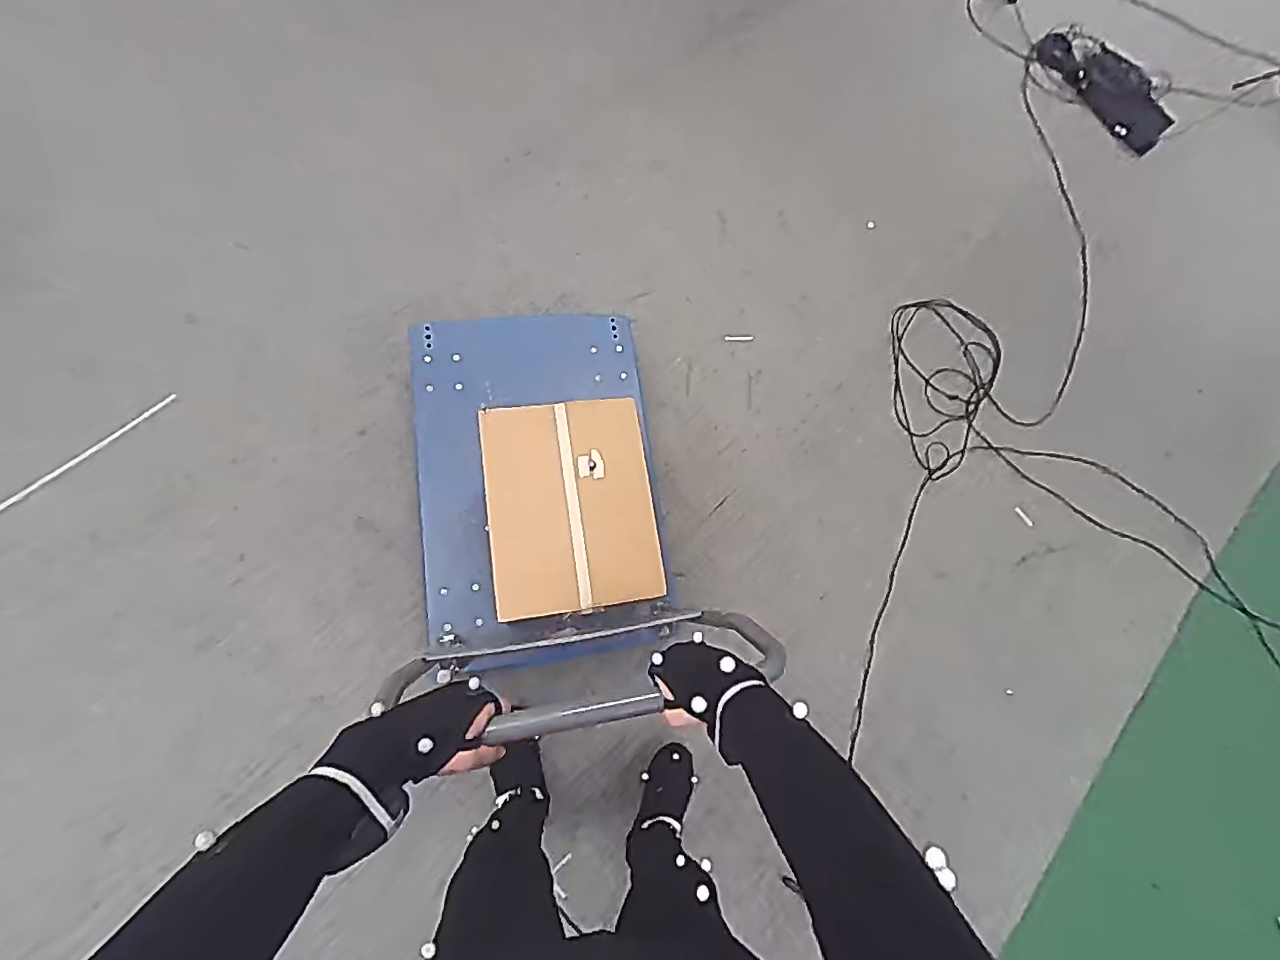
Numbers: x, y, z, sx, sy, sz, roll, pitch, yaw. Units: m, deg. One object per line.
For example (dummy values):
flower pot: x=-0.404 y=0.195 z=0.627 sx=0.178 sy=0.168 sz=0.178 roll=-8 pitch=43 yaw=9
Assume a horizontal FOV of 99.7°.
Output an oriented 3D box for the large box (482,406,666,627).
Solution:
large box: x=-0.155 y=0.092 z=1.188 sx=0.320 sy=0.320 sz=0.408 roll=-6 pitch=76 yaw=-13
